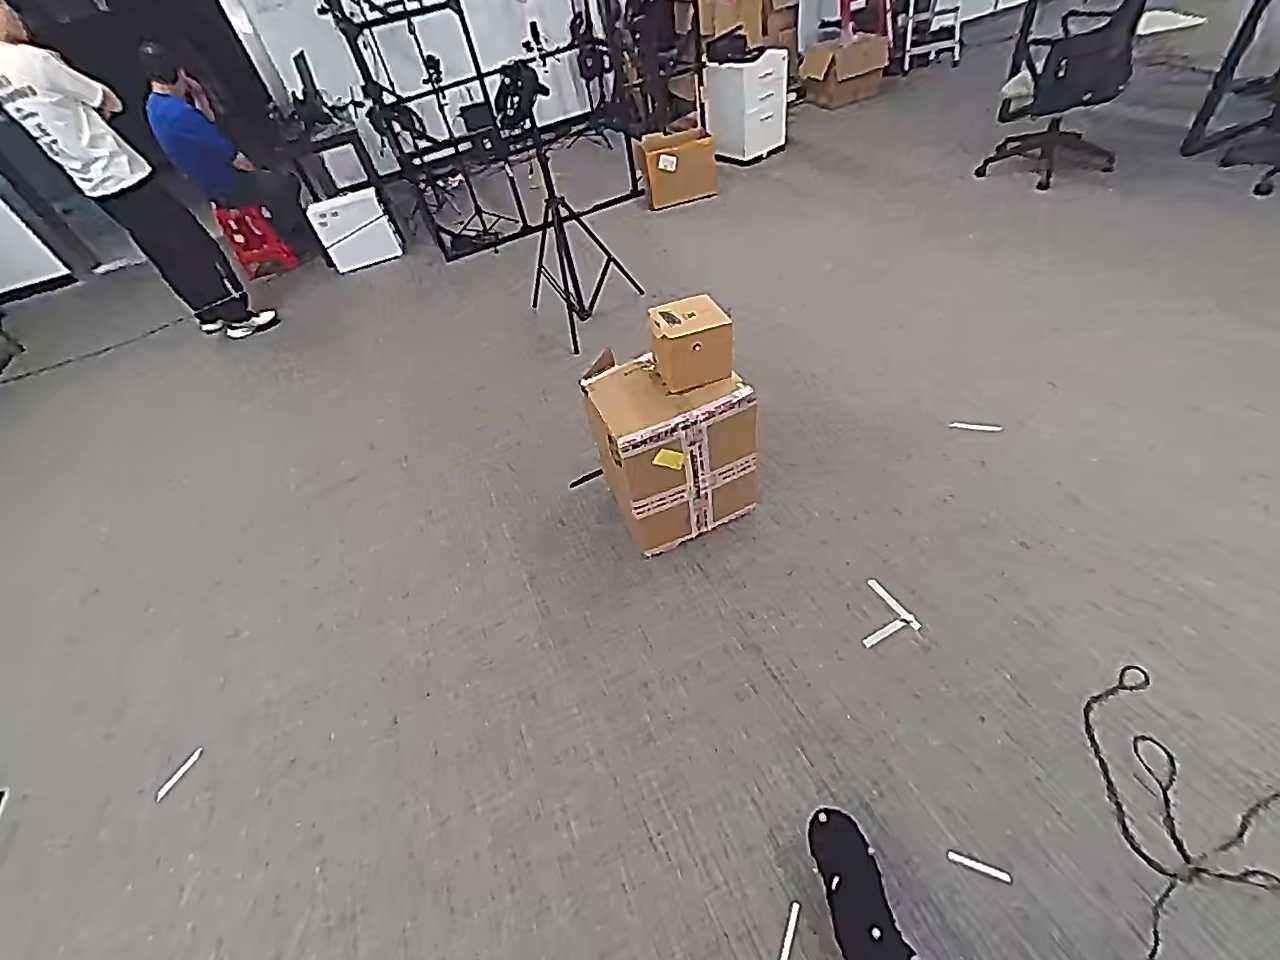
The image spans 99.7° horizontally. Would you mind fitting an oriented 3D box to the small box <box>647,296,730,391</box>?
[{"bbox_3d":[0.132,-0.362,1.449,0.179,0.176,0.168,-18,47,-8],"label":"small box"}]
